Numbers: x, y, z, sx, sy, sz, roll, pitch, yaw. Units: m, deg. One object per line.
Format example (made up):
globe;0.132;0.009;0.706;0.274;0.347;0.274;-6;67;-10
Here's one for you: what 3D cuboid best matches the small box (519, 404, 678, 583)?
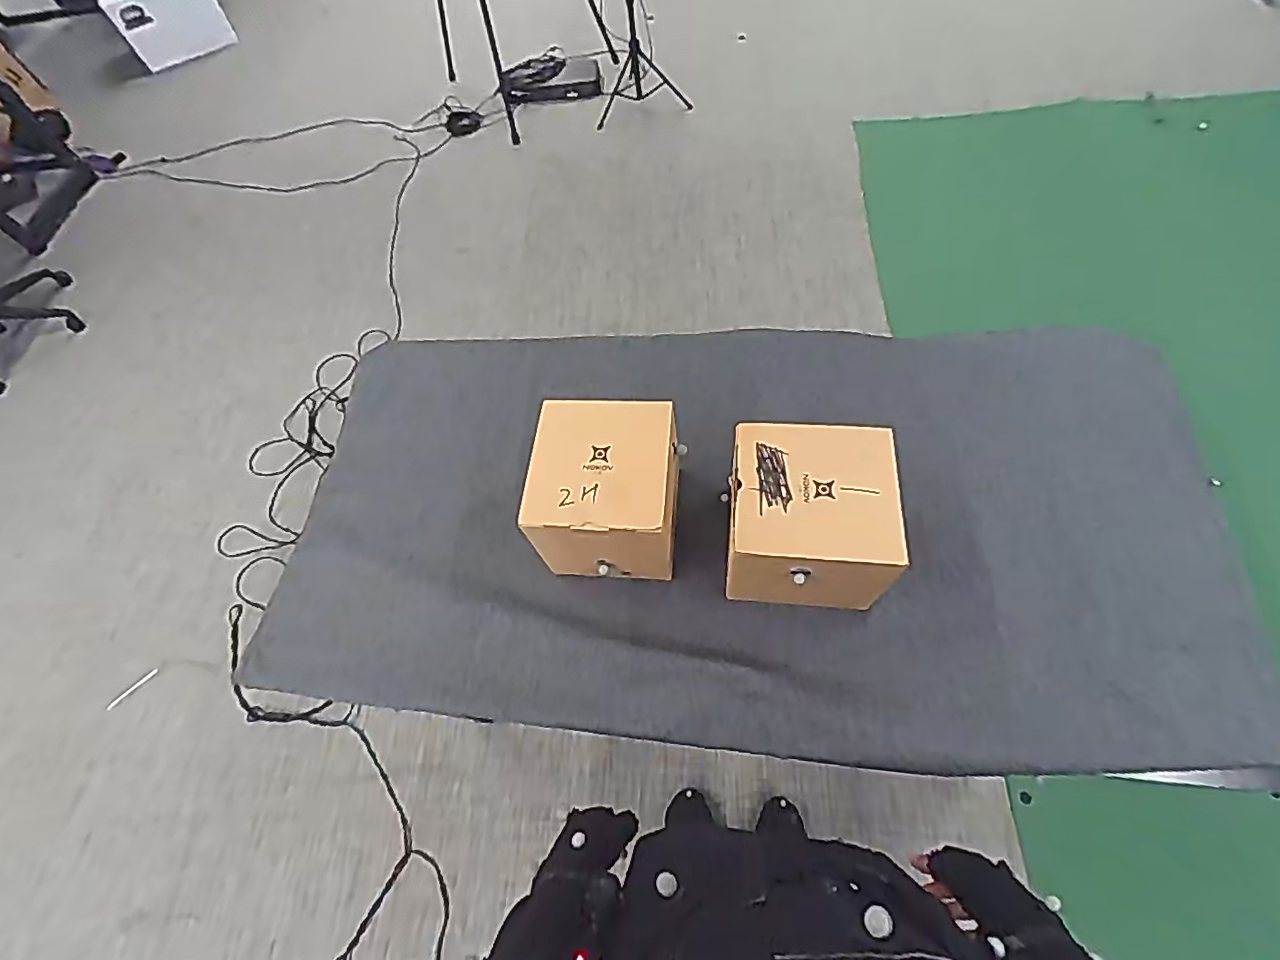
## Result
small box;-0.040;0.020;0.705;0.168;0.176;0.179;1;61;9
